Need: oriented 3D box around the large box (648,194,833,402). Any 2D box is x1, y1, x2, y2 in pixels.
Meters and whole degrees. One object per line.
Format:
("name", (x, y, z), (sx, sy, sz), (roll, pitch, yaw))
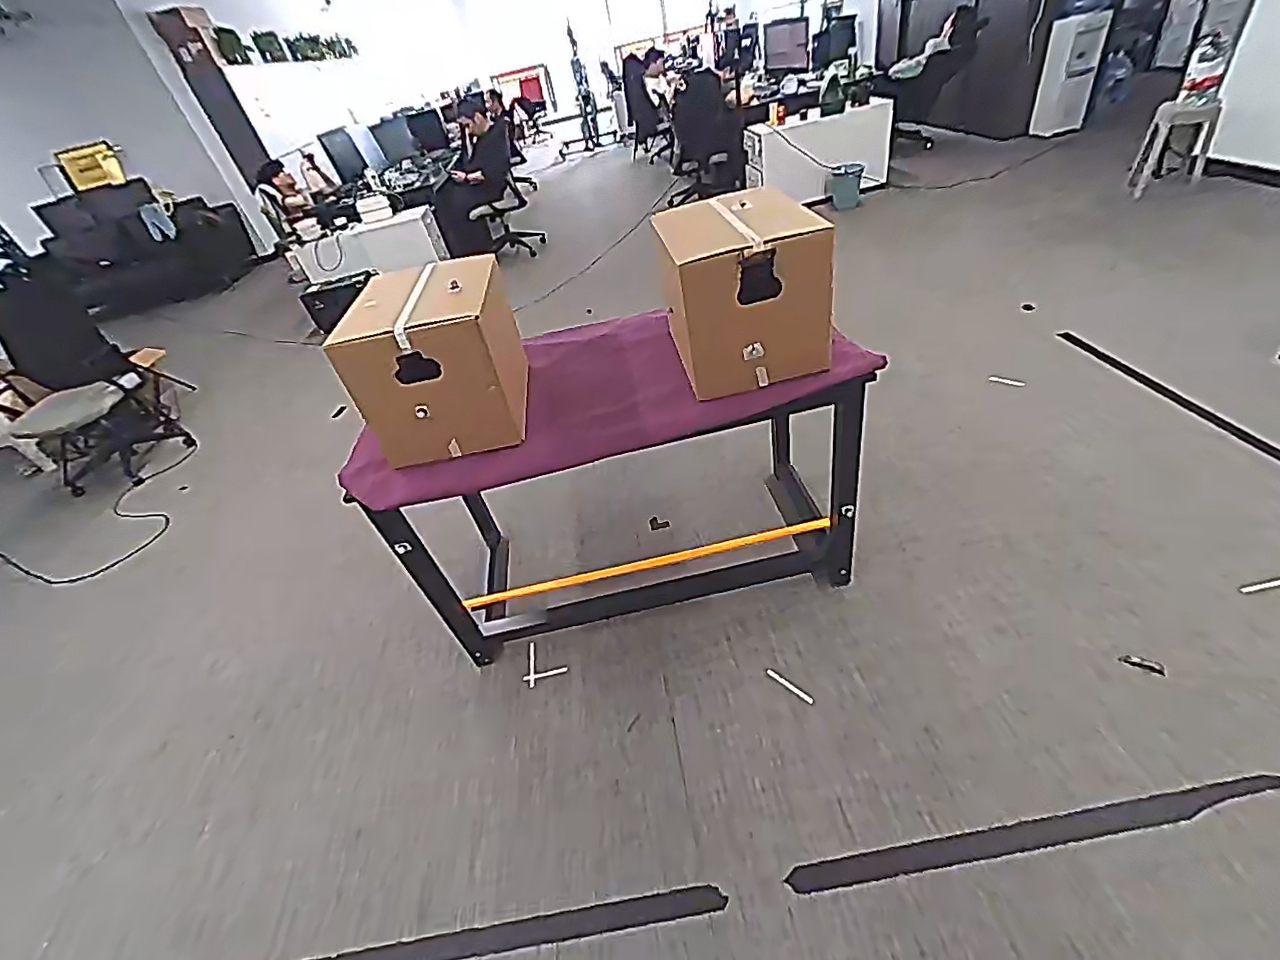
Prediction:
("large box", (0.226, -0.438, 1.276), (0.320, 0.320, 0.408), (-13, 38, 1))
